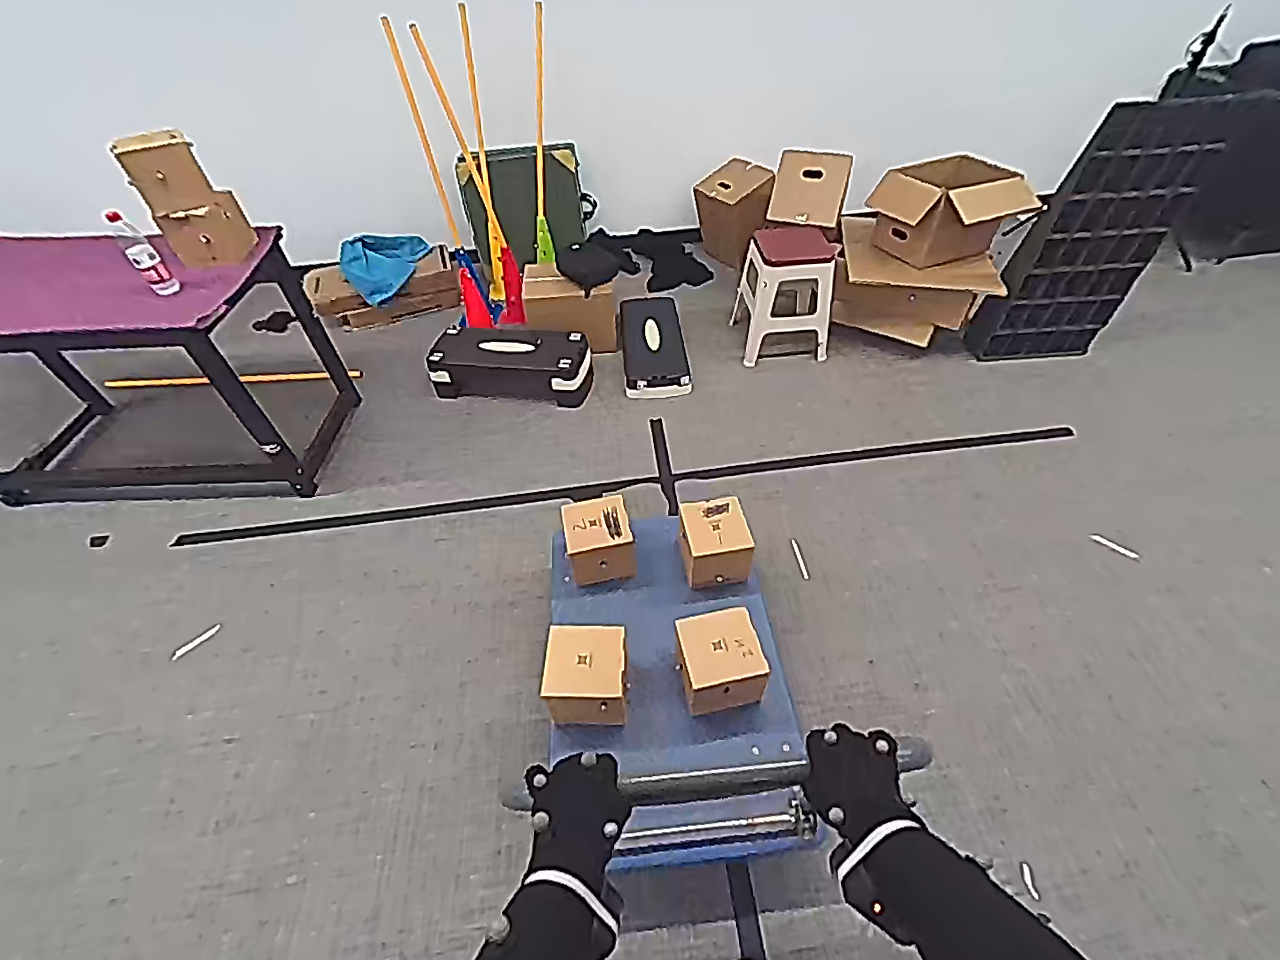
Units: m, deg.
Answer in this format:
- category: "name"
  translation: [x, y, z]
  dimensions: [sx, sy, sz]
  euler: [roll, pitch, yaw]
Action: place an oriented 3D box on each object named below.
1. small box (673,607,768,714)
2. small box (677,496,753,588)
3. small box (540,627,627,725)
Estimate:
- category: "small box"
  translation: [0.181, 0.423, 1.258]
  dimensions: [0.179, 0.176, 0.168]
  euler: [-10, 49, -6]
- category: "small box"
  translation: [0.198, 0.171, 1.482]
  dimensions: [0.168, 0.176, 0.179]
  euler: [-9, 50, -5]
- category: "small box"
  translation: [-0.122, 0.454, 1.246]
  dimensions: [0.179, 0.176, 0.168]
  euler: [0, 48, 1]
